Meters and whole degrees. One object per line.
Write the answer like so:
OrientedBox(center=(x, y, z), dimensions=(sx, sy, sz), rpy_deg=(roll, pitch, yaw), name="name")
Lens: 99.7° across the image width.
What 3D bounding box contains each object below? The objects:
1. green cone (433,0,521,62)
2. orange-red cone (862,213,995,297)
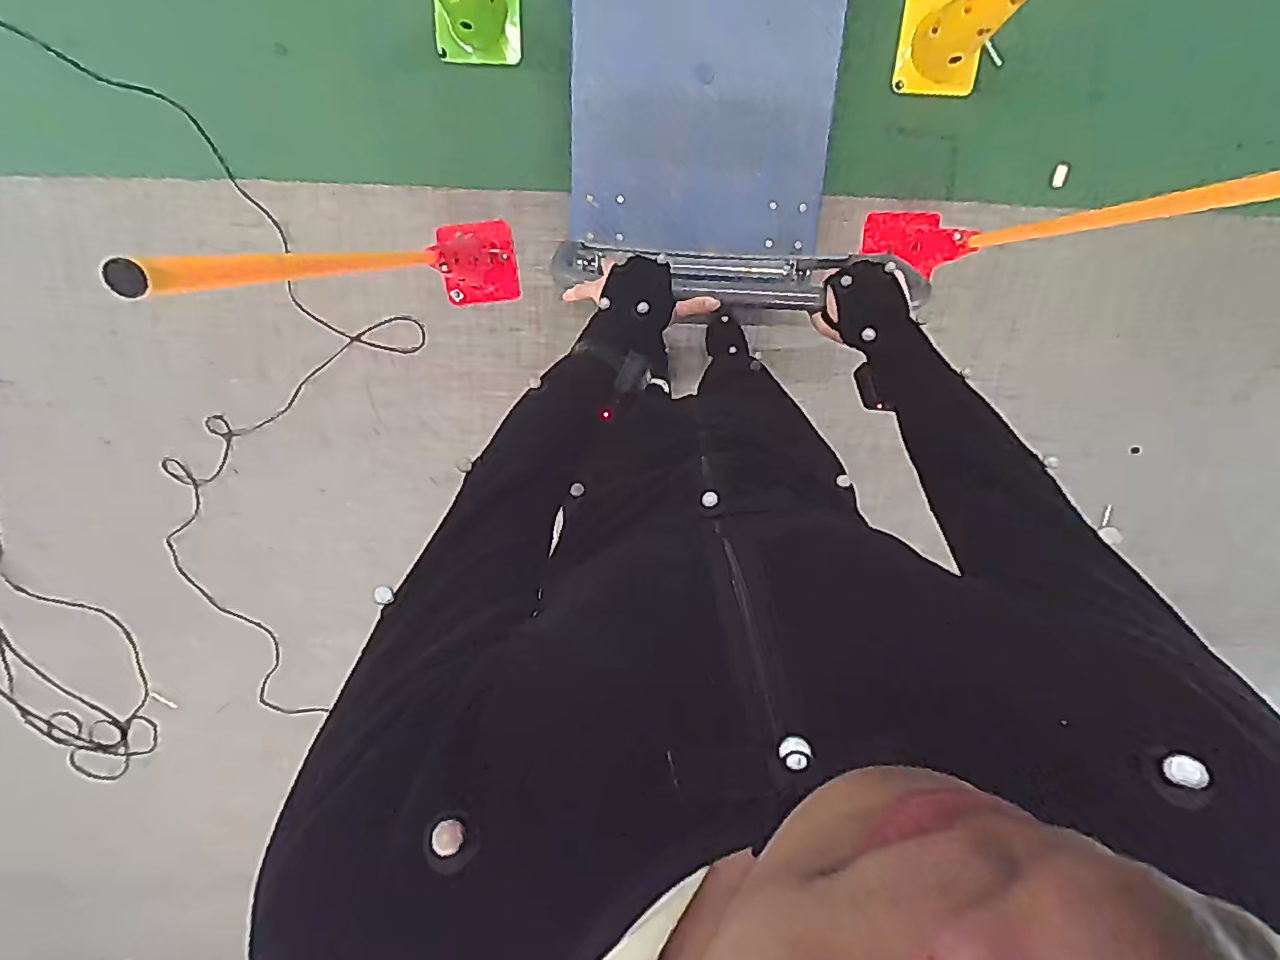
OrientedBox(center=(-0.378, -1.029, 1.080), dimensions=(0.200, 0.368, 0.202), rpy_deg=(2, 108, 0), name="green cone")
OrientedBox(center=(0.691, -0.536, 1.253), dimensions=(0.198, 0.360, 0.199), rpy_deg=(2, 107, -1), name="orange-red cone")
